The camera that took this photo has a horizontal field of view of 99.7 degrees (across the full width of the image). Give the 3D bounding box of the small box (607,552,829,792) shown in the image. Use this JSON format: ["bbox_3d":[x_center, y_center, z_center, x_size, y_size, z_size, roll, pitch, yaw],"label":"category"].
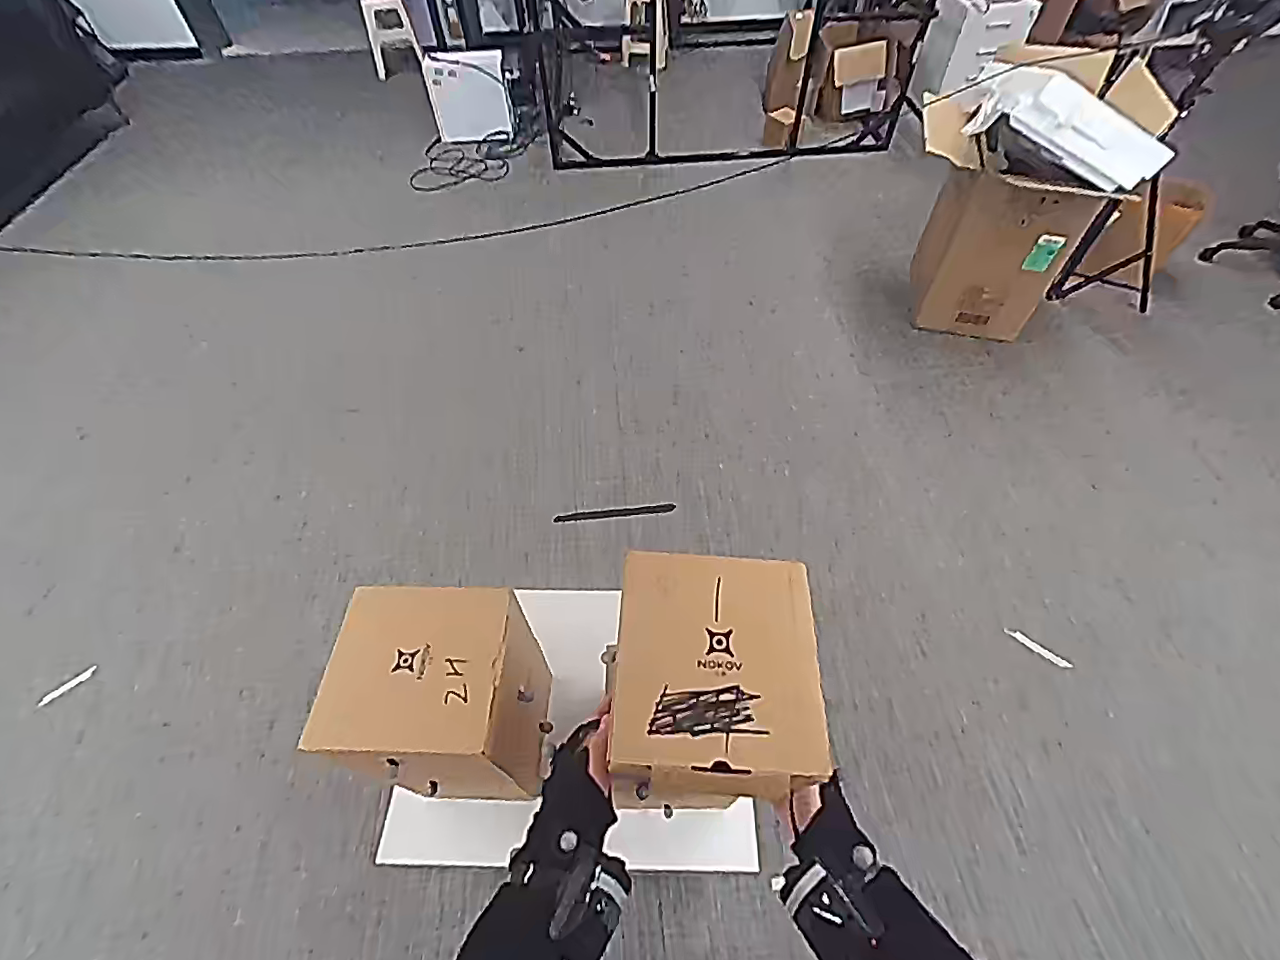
[{"bbox_3d":[0.061,0.185,0.505,0.168,0.176,0.179,4,57,0],"label":"small box"}]

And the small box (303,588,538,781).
[{"bbox_3d":[-0.223,0.234,0.608,0.179,0.176,0.168,1,54,1],"label":"small box"}]

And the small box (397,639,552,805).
[{"bbox_3d":[-0.220,0.330,0.741,0.168,0.176,0.179,1,52,2],"label":"small box"}]
